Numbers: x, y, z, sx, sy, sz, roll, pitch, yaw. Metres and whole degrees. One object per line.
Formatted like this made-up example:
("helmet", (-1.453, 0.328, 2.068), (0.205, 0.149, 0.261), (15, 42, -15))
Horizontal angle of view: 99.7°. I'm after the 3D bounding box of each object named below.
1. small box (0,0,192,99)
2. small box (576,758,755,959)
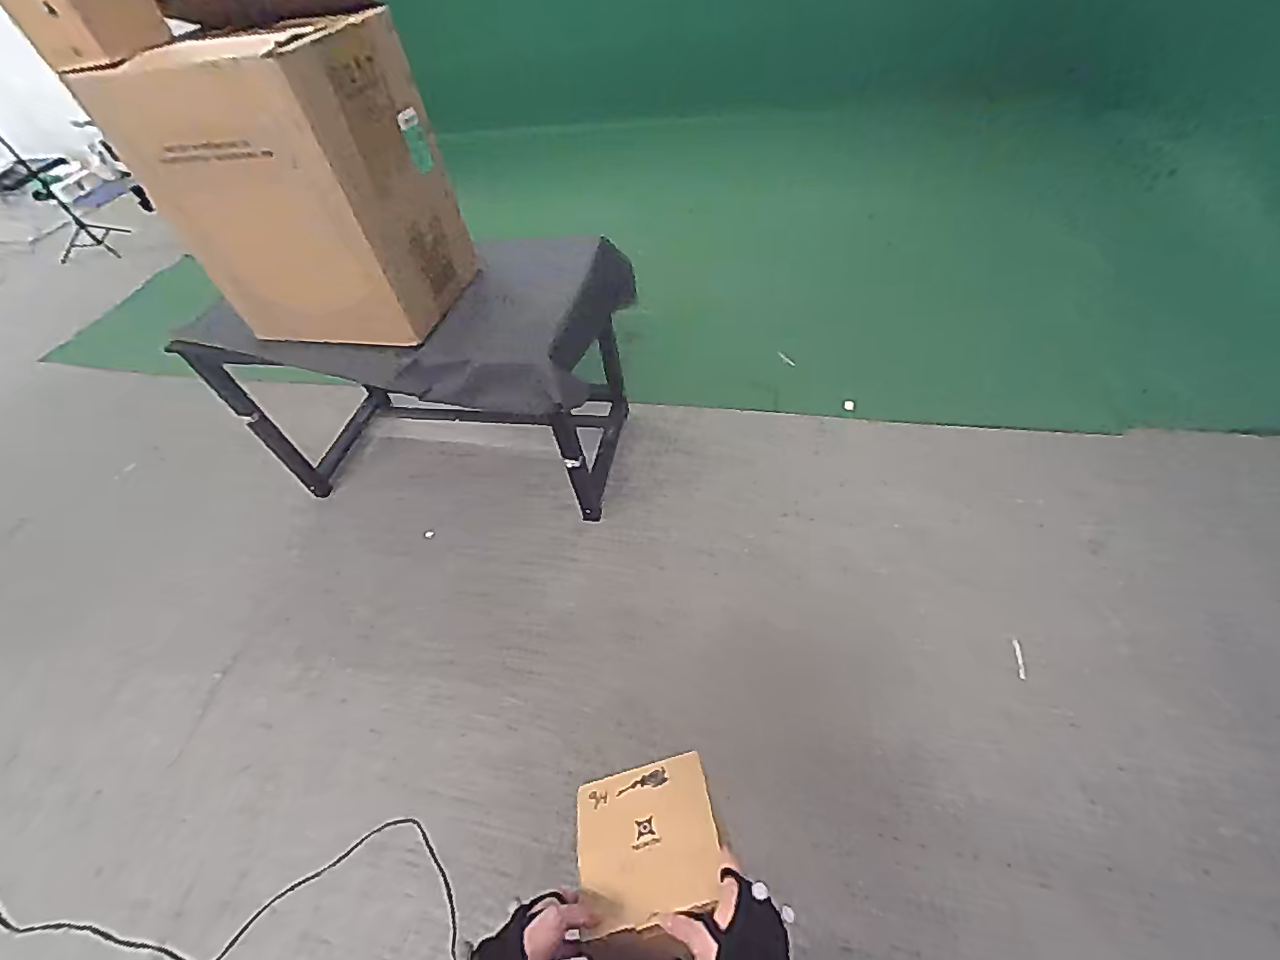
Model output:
("small box", (-1.073, -0.884, 1.085), (0.168, 0.176, 0.179), (6, 50, 15))
("small box", (0.028, 0.490, 0.662), (0.168, 0.176, 0.179), (-19, 26, 2))
